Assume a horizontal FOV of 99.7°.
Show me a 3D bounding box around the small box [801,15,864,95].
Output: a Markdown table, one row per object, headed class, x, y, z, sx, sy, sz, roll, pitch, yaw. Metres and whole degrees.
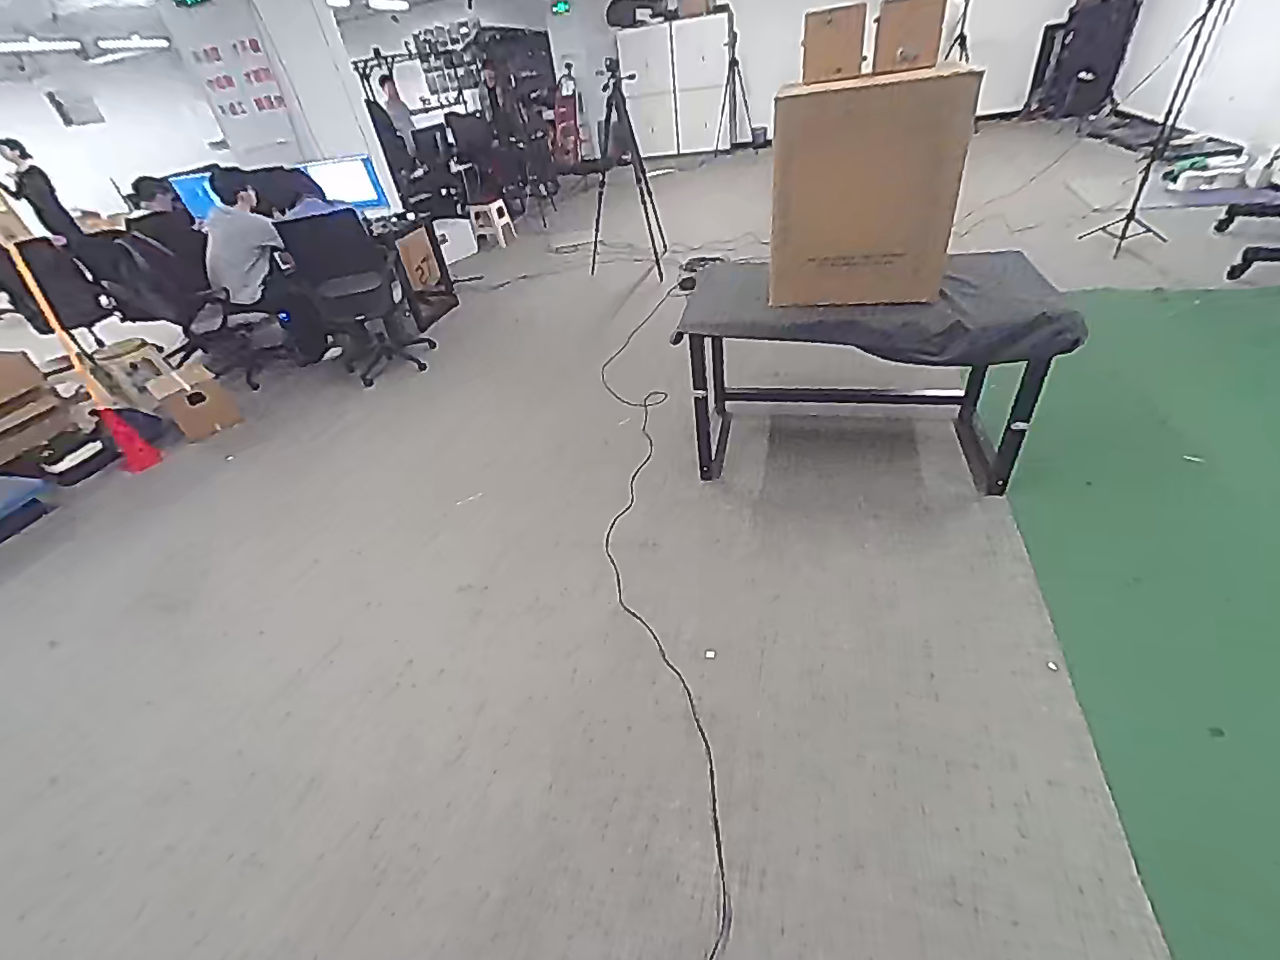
| class | x | y | z | sx | sy | sz | roll | pitch | yaw |
| --- | --- | --- | --- | --- | --- | --- | --- | --- | --- |
| small box | 0.577 | -1.272 | 1.629 | 0.168 | 0.176 | 0.179 | 3 | 37 | 18 |
